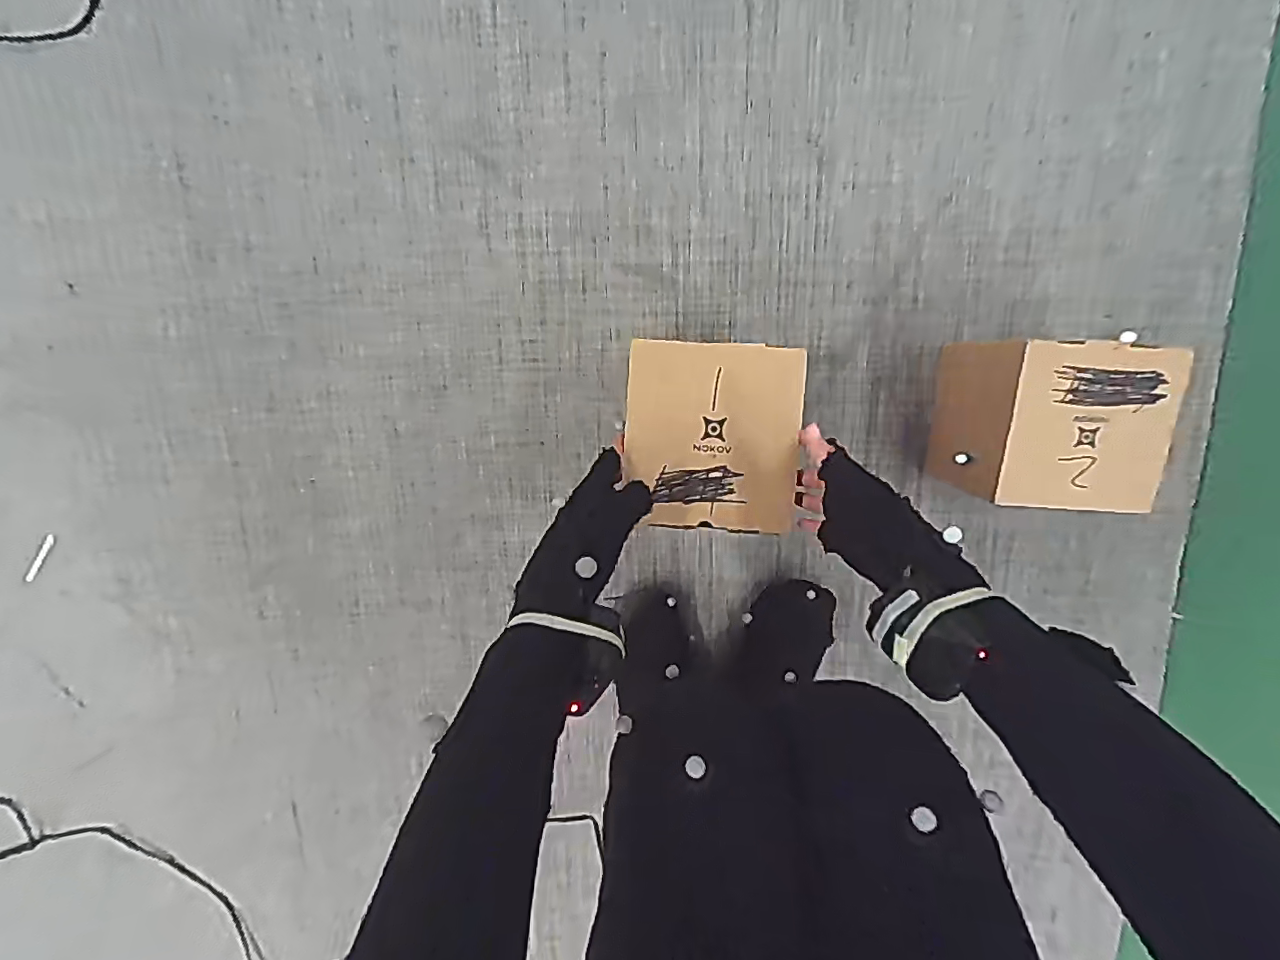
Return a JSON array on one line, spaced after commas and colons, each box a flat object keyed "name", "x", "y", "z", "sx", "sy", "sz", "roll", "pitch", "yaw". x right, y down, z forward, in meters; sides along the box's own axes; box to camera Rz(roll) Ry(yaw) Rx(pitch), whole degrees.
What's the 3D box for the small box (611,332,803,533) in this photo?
[{"name": "small box", "x": 0.063, "y": -0.049, "z": 0.574, "sx": 0.168, "sy": 0.176, "sz": 0.179, "roll": 4, "pitch": 94, "yaw": 1}]
